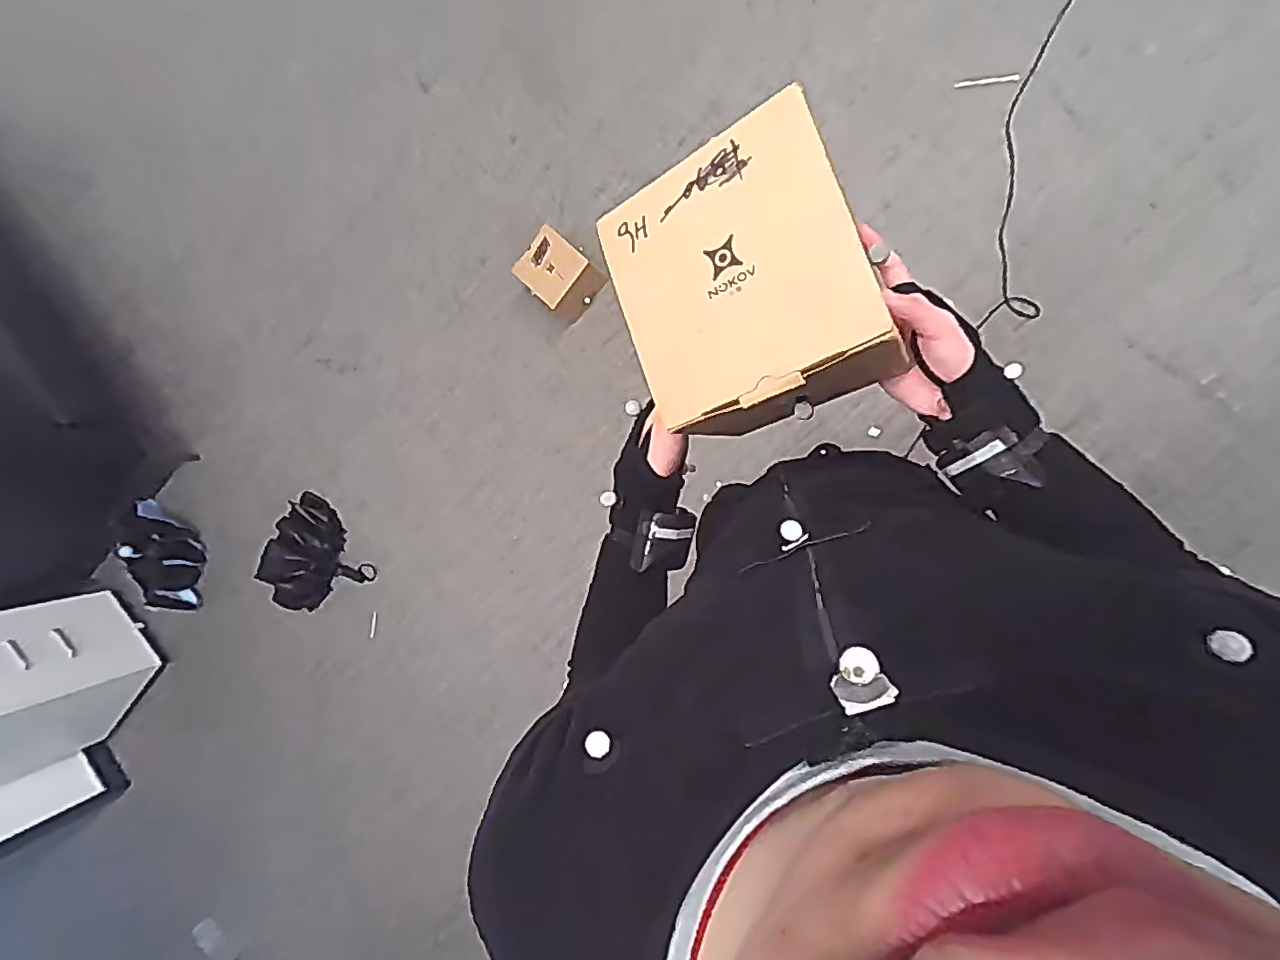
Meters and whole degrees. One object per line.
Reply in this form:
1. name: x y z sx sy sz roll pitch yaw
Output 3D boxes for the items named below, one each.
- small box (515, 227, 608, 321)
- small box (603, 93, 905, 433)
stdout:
1. small box: -0.225 -0.592 1.583 0.179 0.176 0.168 43 104 9
2. small box: 0.102 -0.148 0.443 0.168 0.176 0.179 -22 84 28
